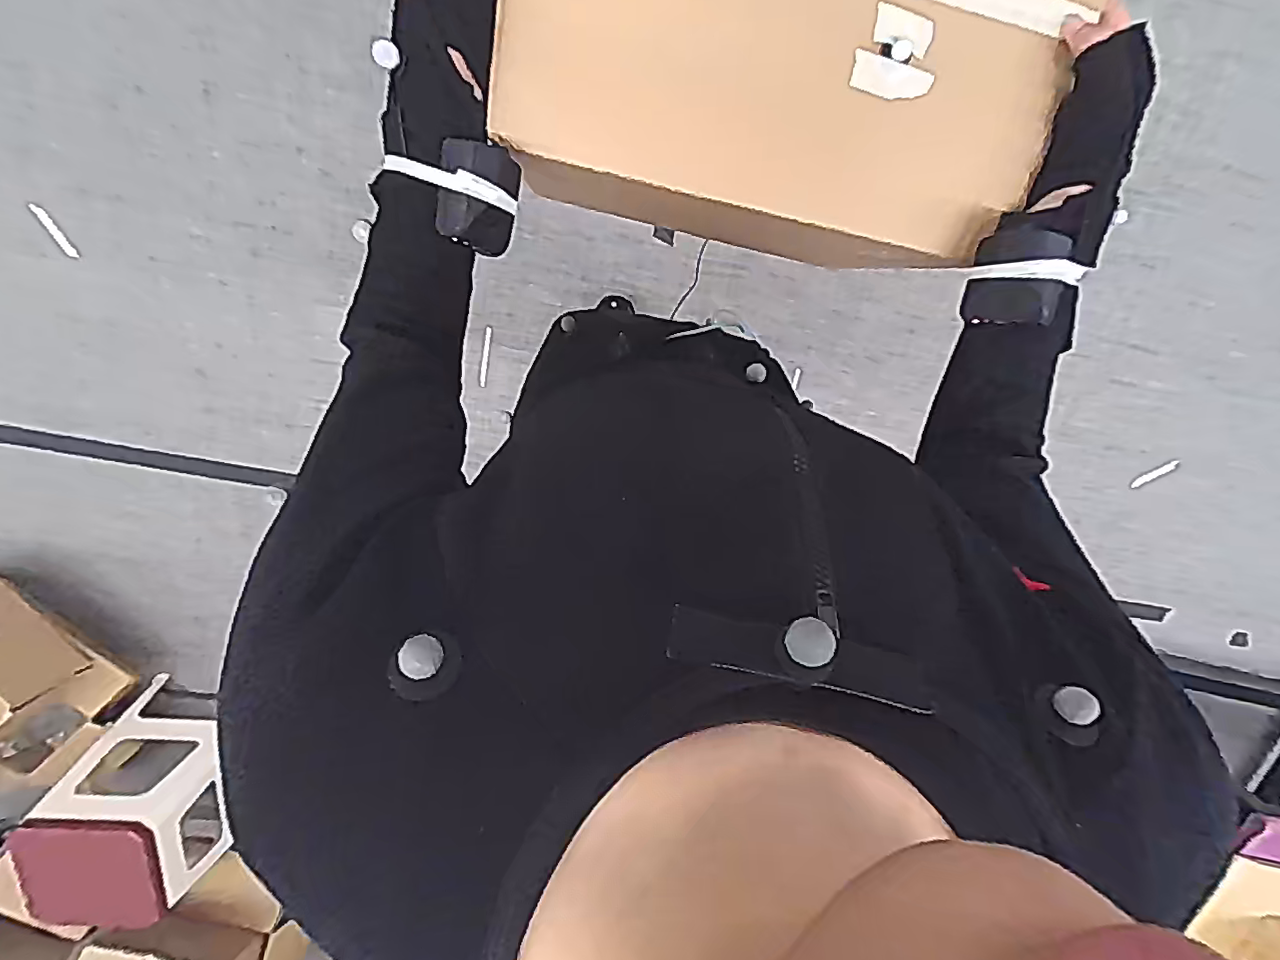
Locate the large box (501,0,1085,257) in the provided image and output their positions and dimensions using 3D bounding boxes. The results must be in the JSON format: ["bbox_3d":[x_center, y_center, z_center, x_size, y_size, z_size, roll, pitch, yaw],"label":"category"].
[{"bbox_3d":[0.106,-0.410,0.501,0.408,0.320,0.320,9,111,-9],"label":"large box"}]
